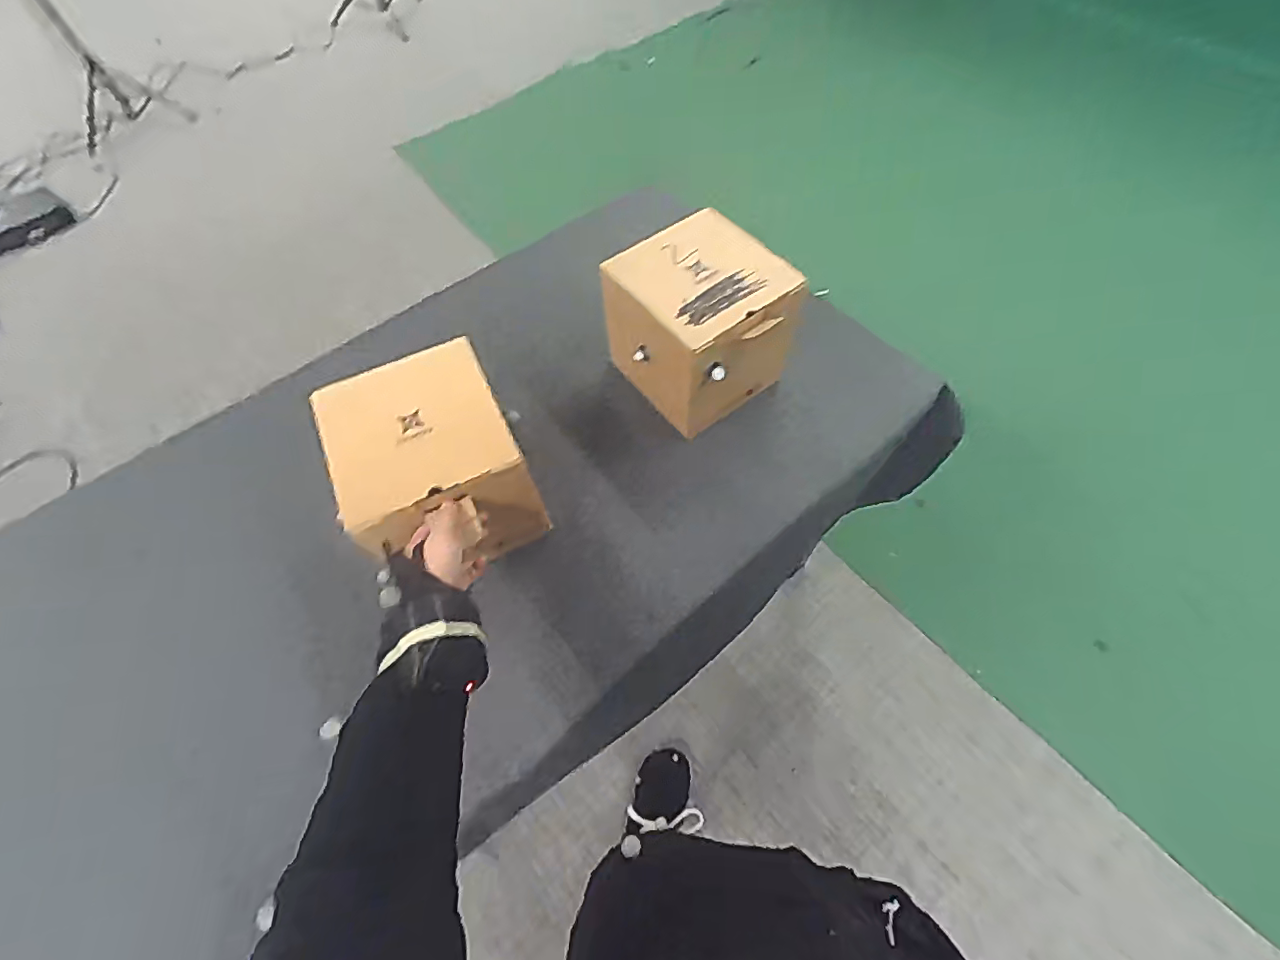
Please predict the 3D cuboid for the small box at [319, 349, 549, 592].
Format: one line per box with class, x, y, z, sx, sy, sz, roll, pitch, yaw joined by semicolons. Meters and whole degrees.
small box;-0.216;-0.005;0.597;0.168;0.176;0.179;-24;63;-12
